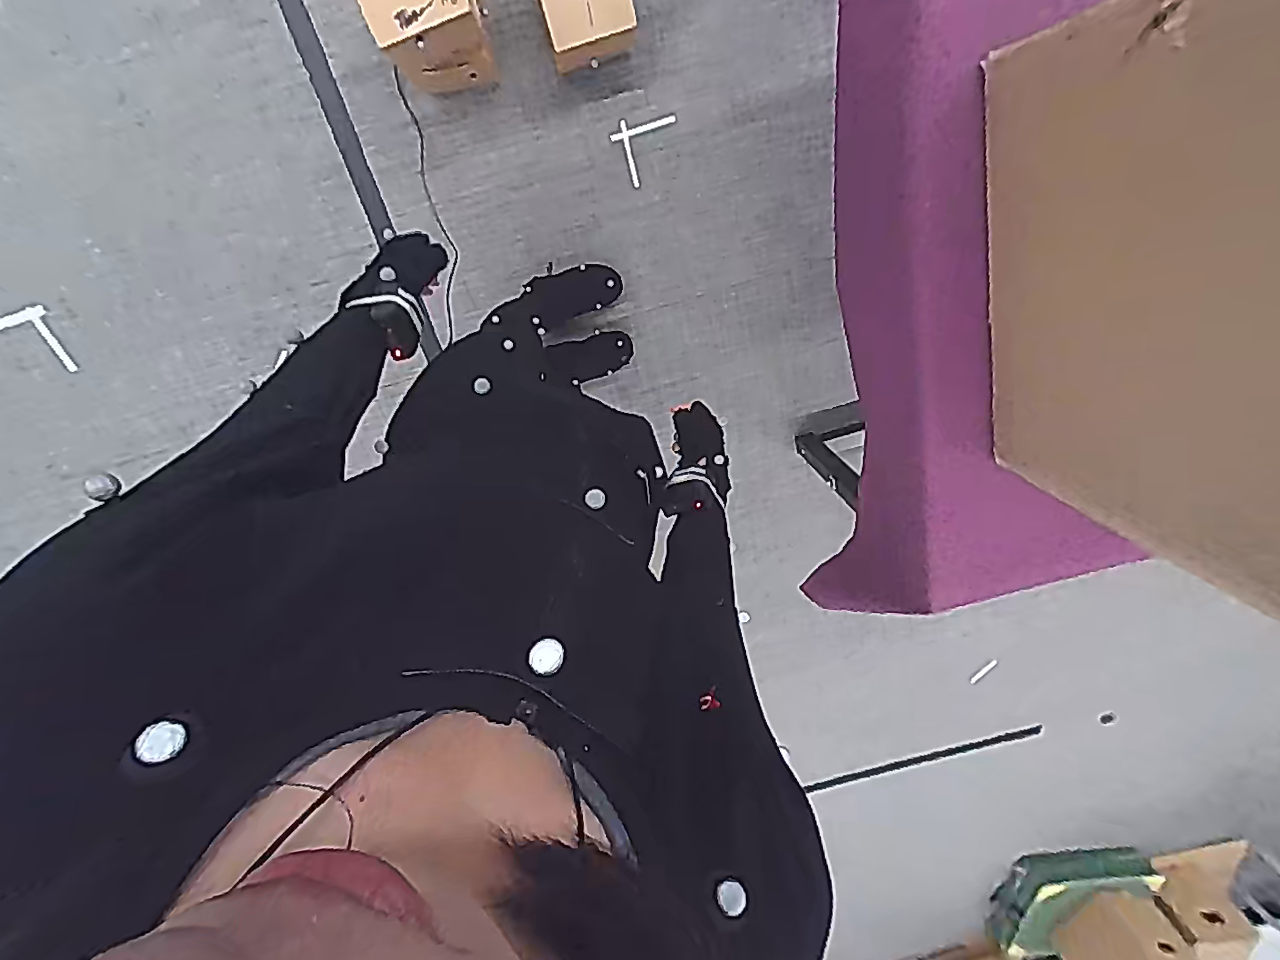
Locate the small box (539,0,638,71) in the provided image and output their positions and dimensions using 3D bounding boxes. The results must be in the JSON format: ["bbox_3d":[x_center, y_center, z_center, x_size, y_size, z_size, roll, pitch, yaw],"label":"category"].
[{"bbox_3d":[-0.110,-0.940,1.052,0.168,0.176,0.179,-16,116,2],"label":"small box"}]

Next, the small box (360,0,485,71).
[{"bbox_3d":[-0.377,-0.829,0.899,0.168,0.176,0.179,-20,115,3],"label":"small box"}]

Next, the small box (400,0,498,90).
[{"bbox_3d":[-0.384,-0.887,1.052,0.168,0.176,0.179,-11,113,-2],"label":"small box"}]
